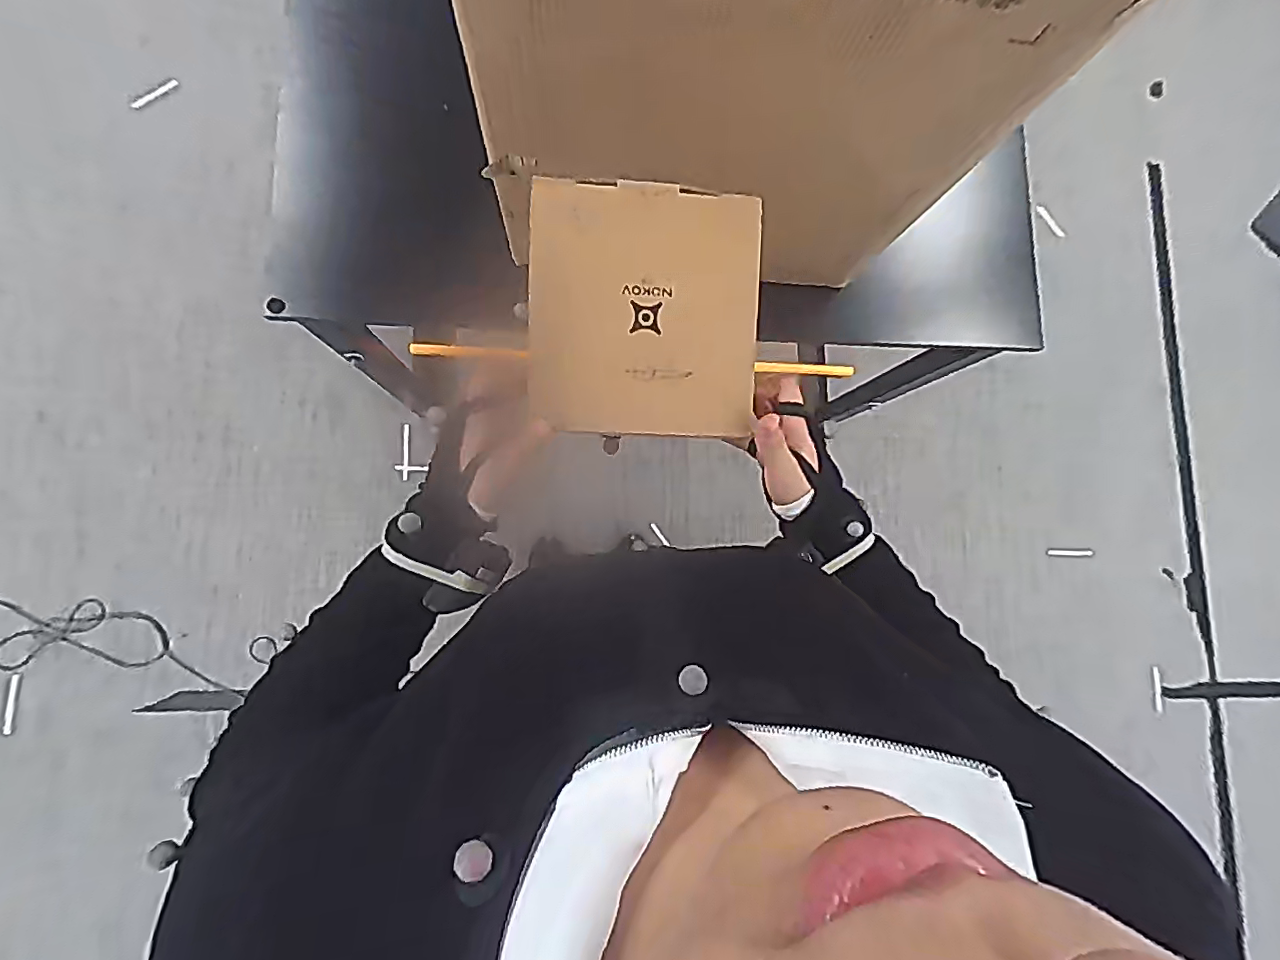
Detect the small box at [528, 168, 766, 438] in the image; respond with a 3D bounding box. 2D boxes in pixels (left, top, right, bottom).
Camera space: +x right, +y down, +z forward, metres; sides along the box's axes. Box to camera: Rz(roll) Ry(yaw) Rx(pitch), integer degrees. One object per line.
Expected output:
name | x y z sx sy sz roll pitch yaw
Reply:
small box | -0.005 -0.127 0.458 0.168 0.176 0.179 2 95 -8
